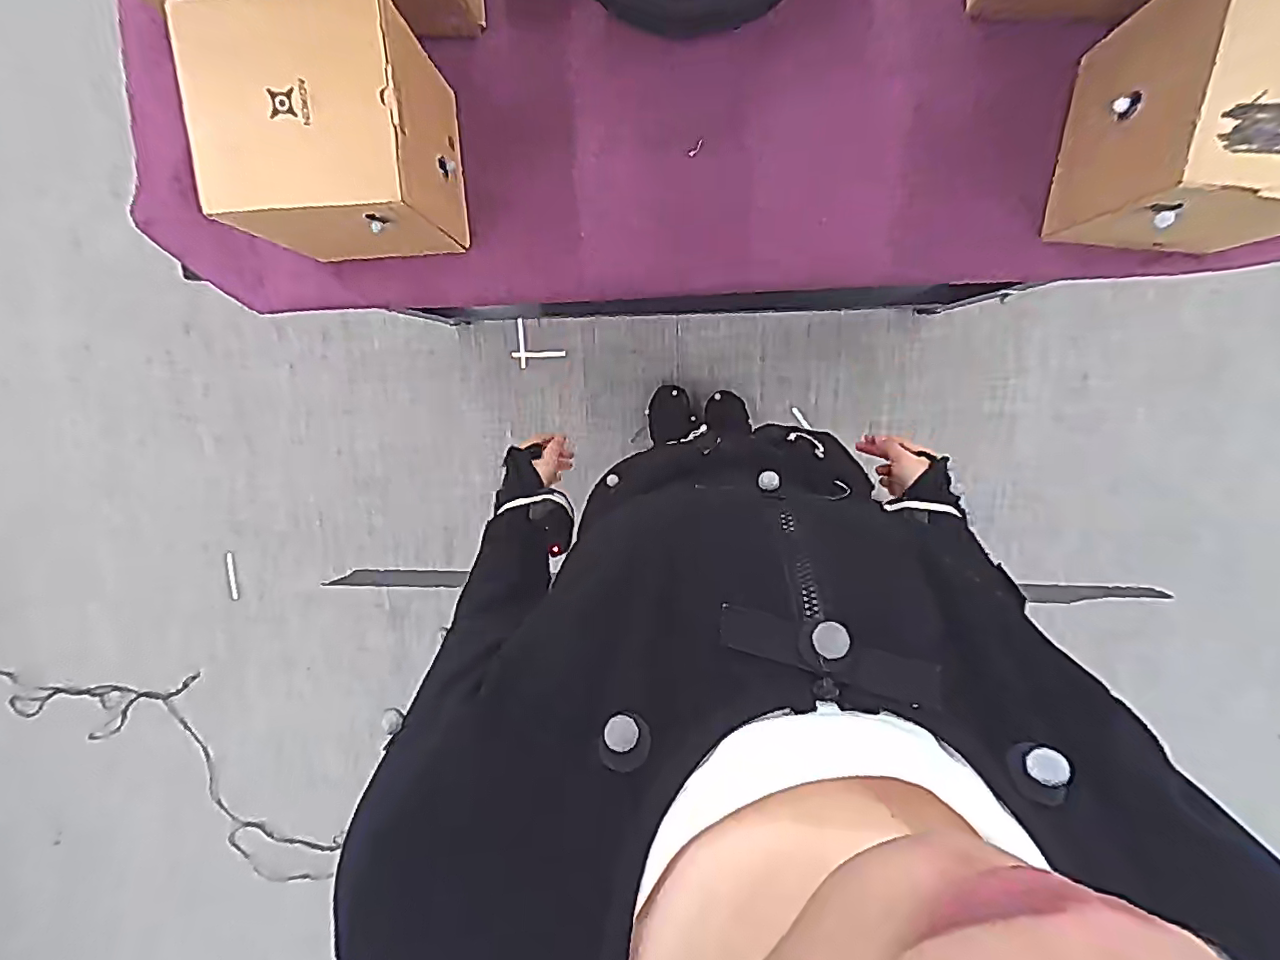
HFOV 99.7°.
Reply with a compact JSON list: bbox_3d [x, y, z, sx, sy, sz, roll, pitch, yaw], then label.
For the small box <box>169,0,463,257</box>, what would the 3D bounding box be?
[{"bbox_3d":[-0.293,-0.327,0.530,0.179,0.176,0.168,-4,100,1],"label":"small box"}]
